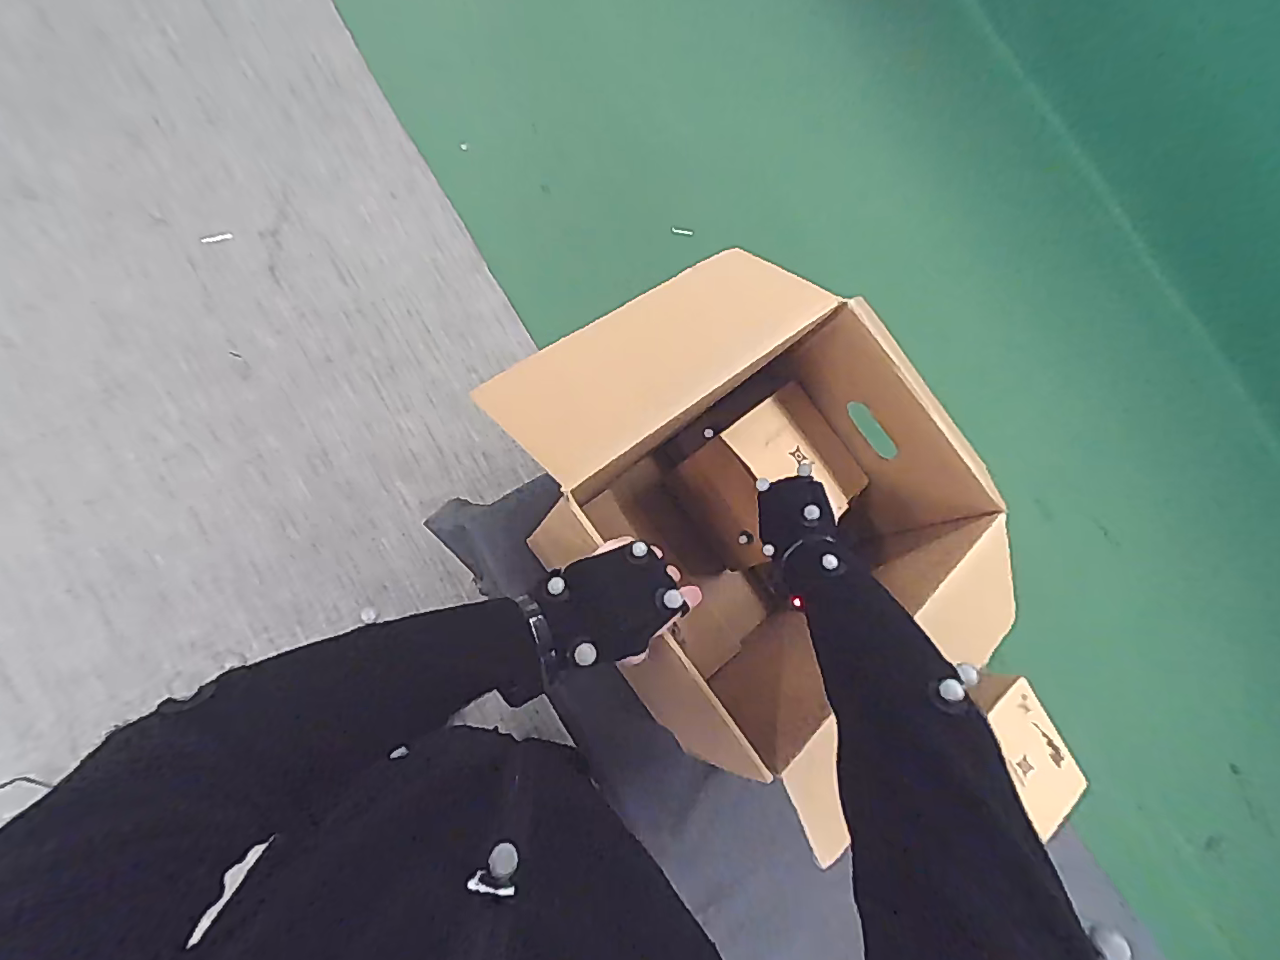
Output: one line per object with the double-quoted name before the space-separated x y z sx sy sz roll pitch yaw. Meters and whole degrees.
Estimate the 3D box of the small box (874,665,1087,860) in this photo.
"small box" 0.472 0.388 0.781 0.179 0.176 0.168 -26 85 -21
